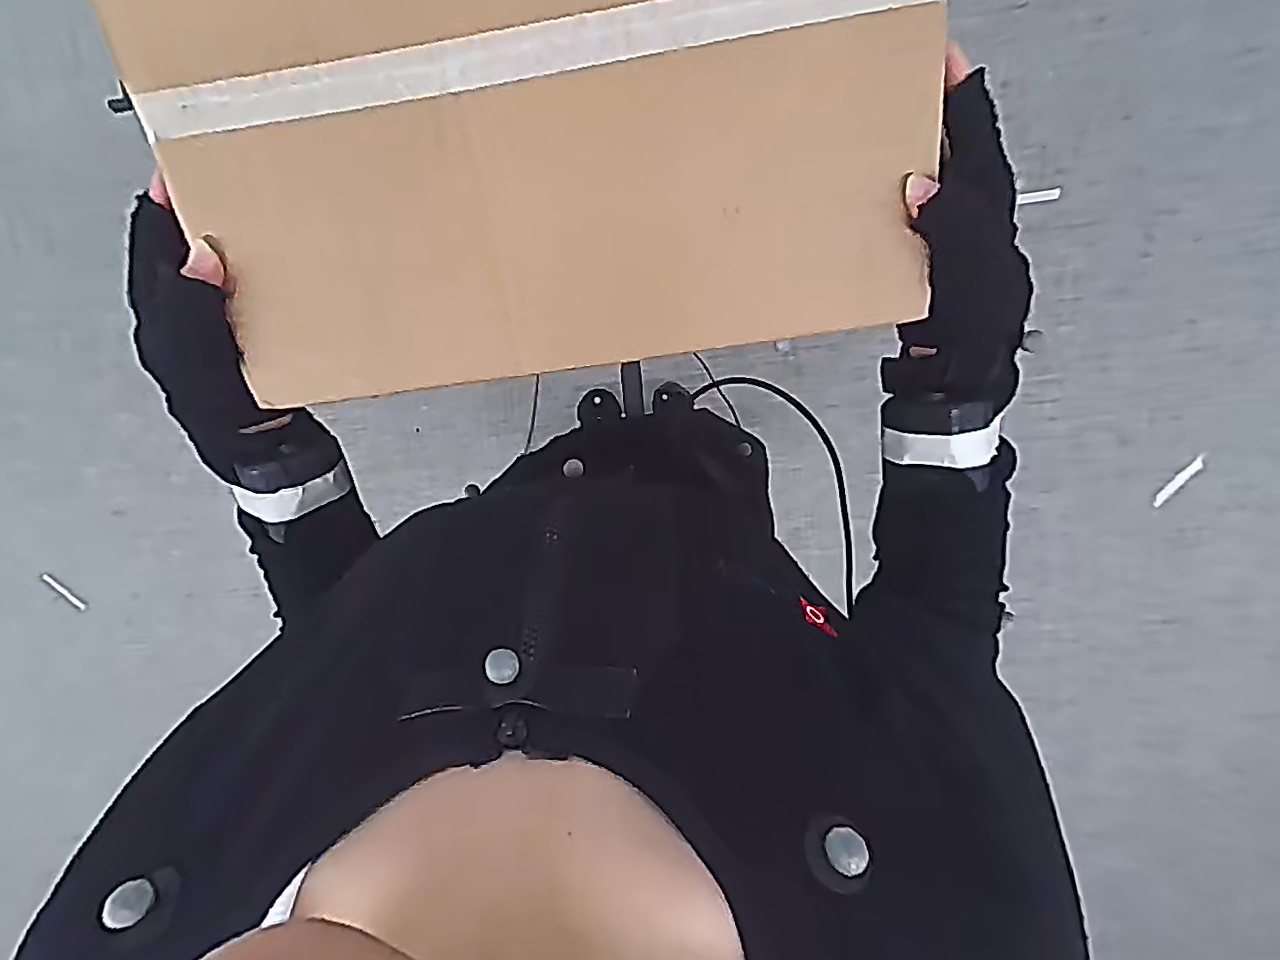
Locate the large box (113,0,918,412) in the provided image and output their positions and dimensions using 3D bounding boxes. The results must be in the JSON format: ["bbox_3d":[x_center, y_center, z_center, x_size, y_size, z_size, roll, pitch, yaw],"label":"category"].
[{"bbox_3d":[-0.054,-0.266,0.416,0.408,0.320,0.320,-7,111,4],"label":"large box"}]
